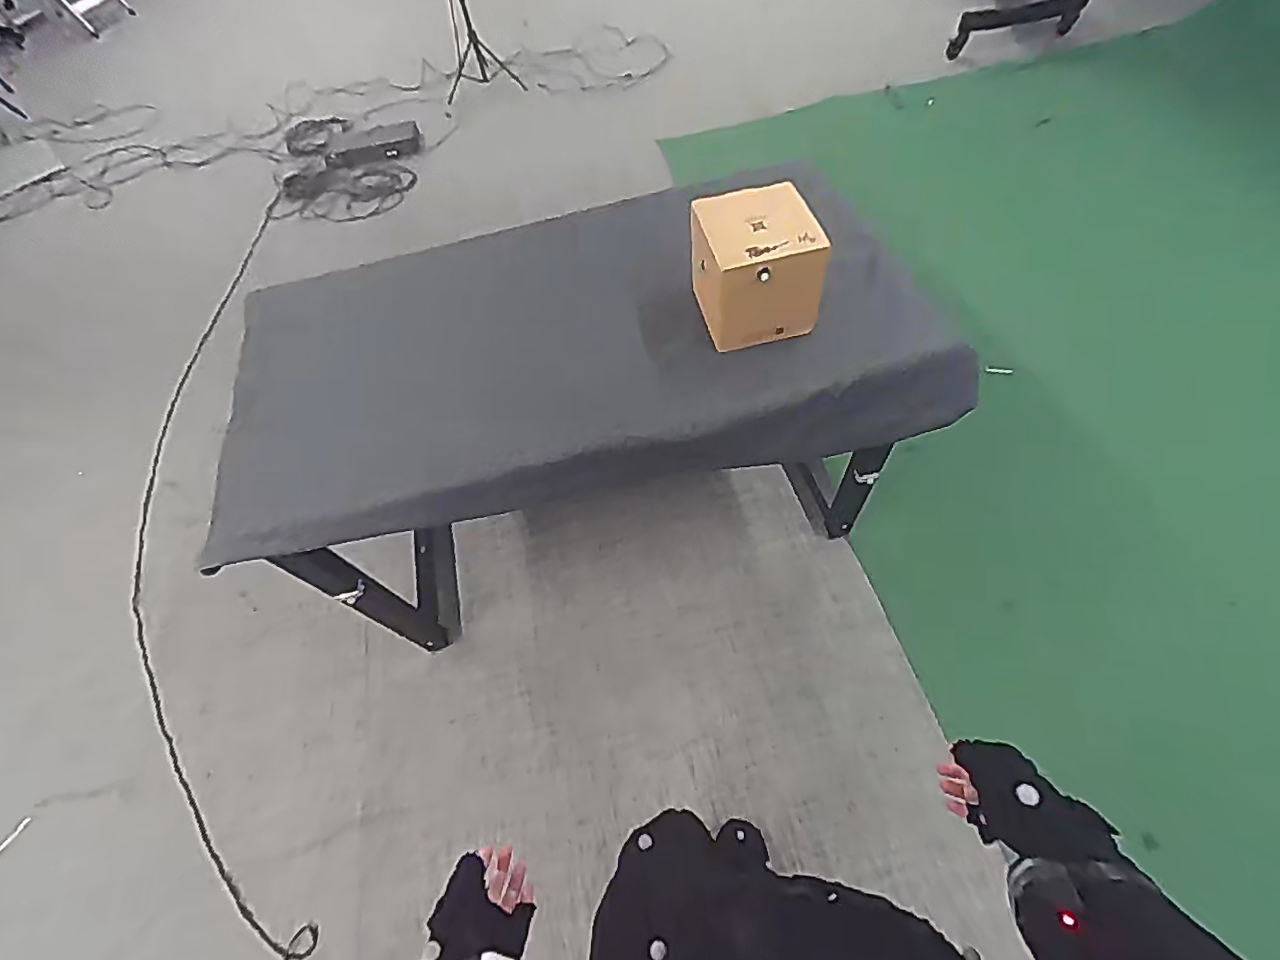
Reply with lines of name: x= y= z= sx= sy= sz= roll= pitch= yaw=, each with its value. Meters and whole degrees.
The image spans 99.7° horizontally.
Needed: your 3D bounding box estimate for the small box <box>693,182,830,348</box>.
small box: x=0.186 y=-0.347 z=0.884 sx=0.168 sy=0.176 sz=0.179 roll=-13 pitch=58 yaw=0
